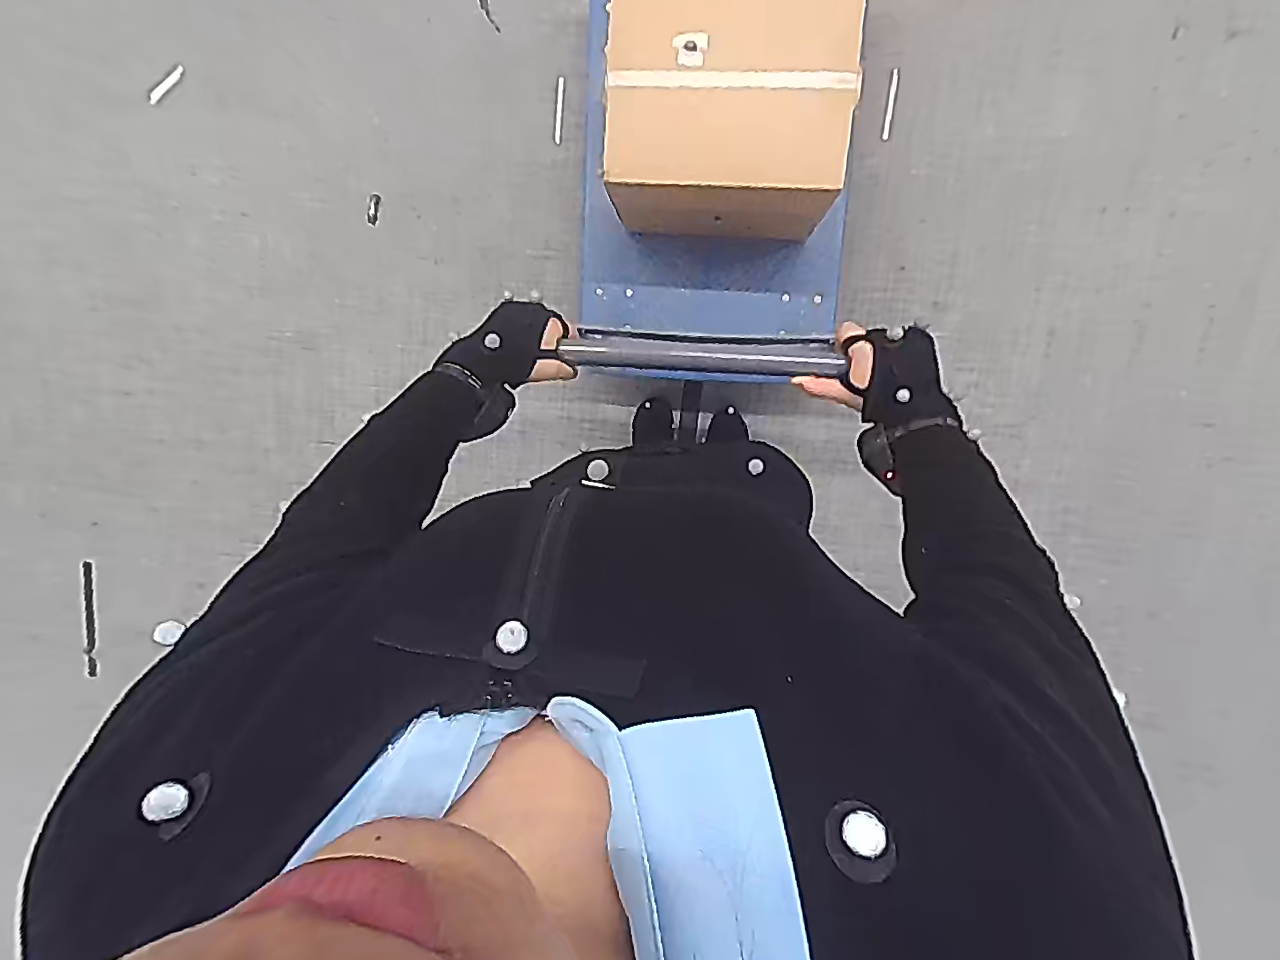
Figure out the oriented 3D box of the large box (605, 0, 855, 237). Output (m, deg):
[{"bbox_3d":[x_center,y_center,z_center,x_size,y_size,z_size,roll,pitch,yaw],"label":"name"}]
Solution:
[{"bbox_3d":[0.162,-0.676,1.051,0.408,0.320,0.320,5,99,6],"label":"large box"}]
